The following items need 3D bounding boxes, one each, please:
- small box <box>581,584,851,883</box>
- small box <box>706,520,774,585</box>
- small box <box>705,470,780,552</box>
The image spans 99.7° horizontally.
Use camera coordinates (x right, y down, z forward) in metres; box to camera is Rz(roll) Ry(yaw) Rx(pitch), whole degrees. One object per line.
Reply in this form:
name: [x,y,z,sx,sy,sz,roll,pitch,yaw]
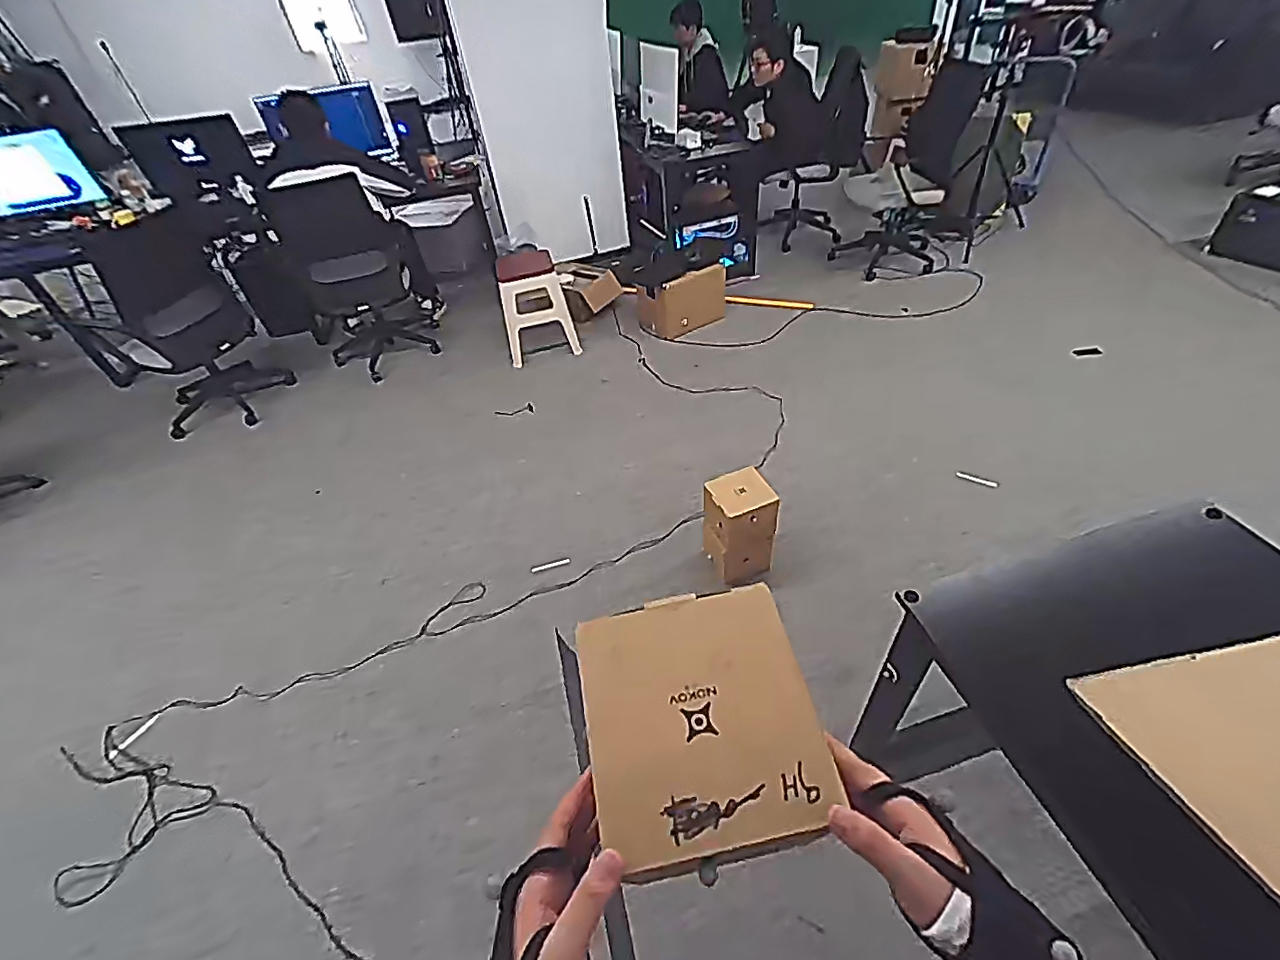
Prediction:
small box: [0.050,0.218,0.461,0.168,0.176,0.179,-12,51,-3]
small box: [0.330,0.221,1.815,0.179,0.176,0.168,-18,44,-9]
small box: [0.319,0.101,1.707,0.179,0.176,0.168,-19,45,-13]
